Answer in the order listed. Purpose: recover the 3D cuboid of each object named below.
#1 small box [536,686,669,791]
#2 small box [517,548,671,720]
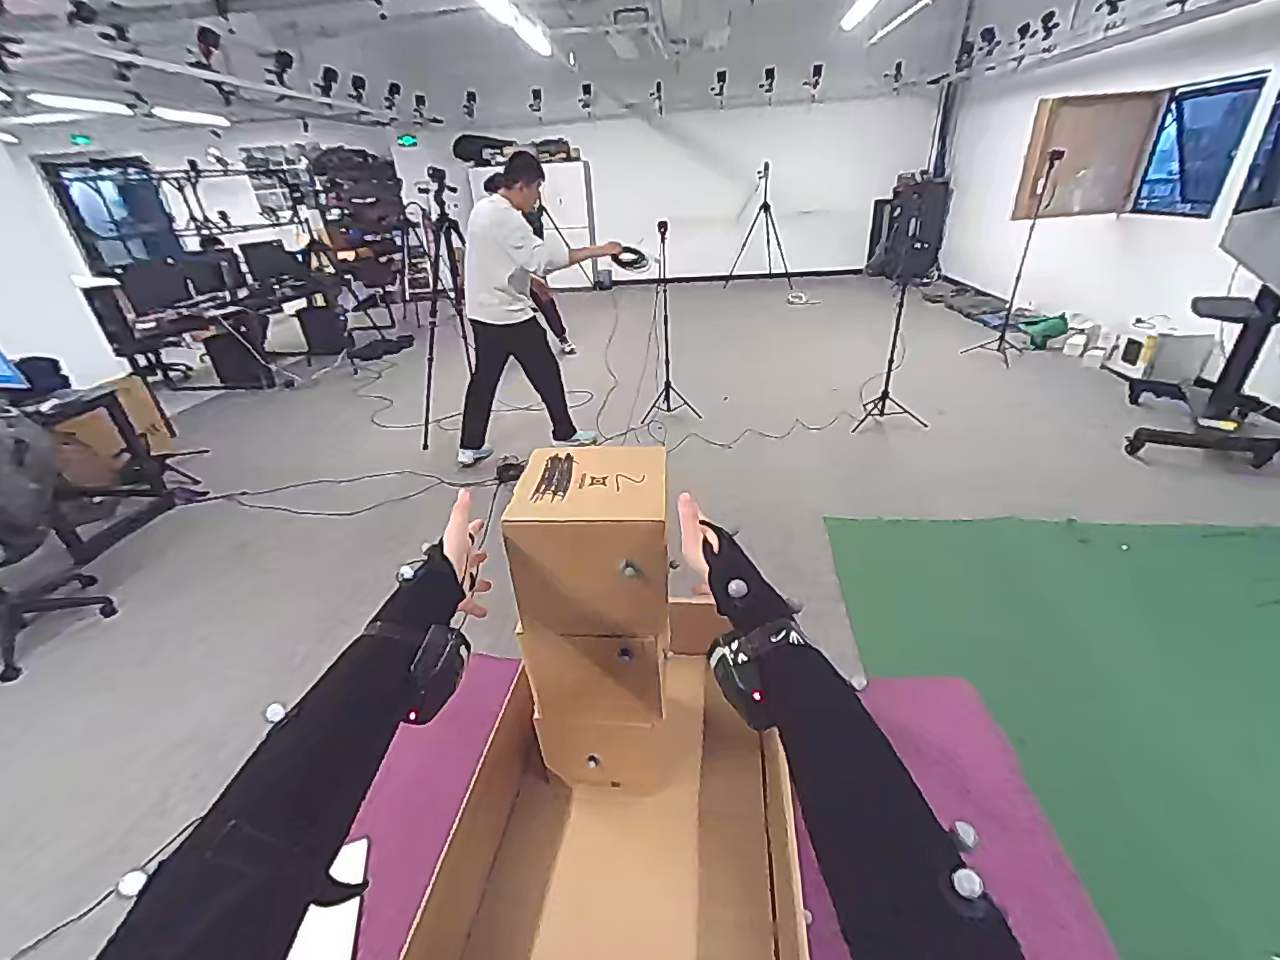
[{"bbox_3d":[-0.045,0.348,0.836,0.168,0.176,0.179,1,31,8],"label":"small box"},{"bbox_3d":[-0.051,0.211,0.751,0.179,0.176,0.168,0,31,6],"label":"small box"}]
